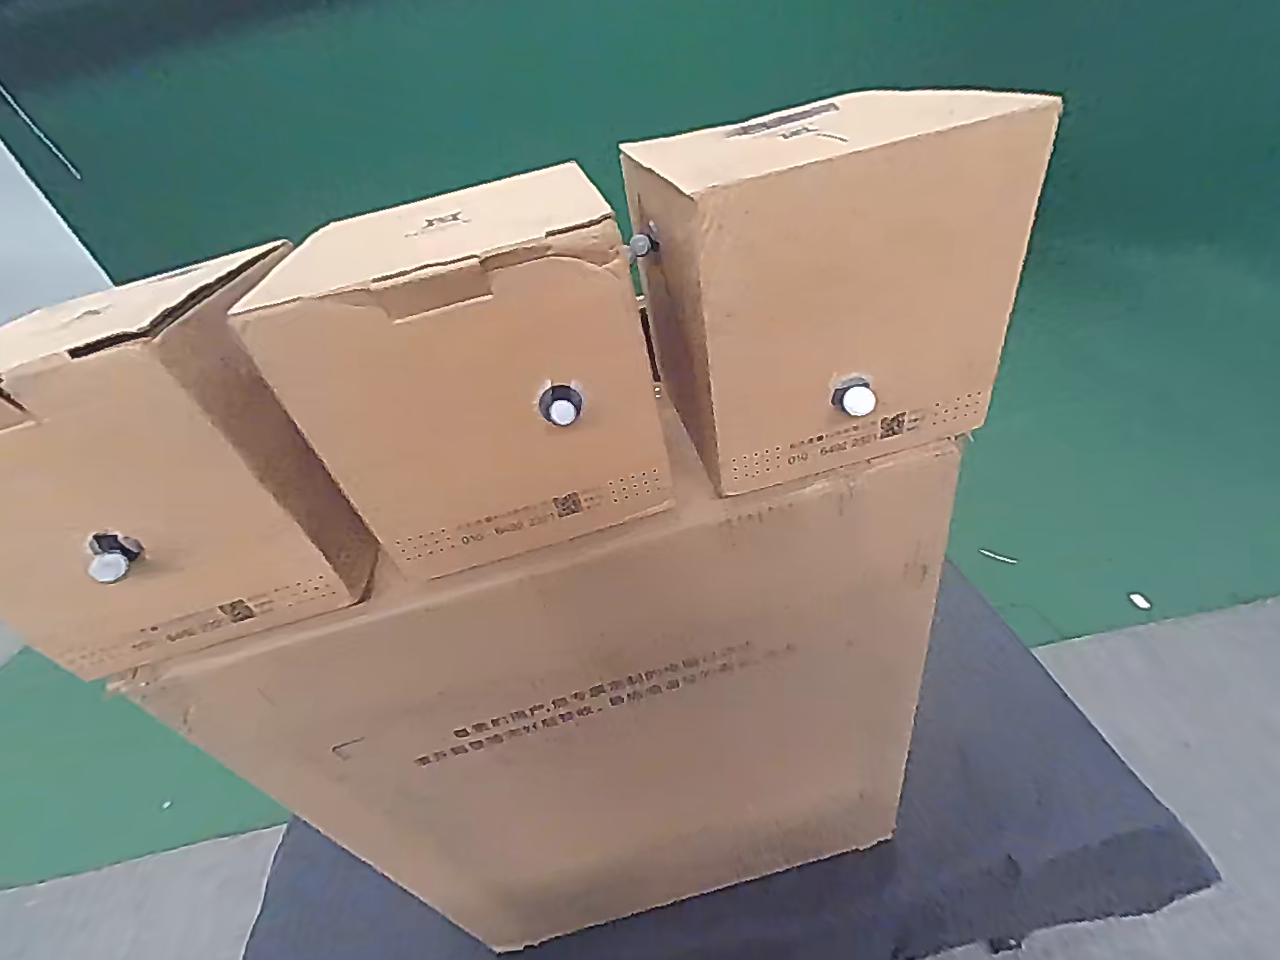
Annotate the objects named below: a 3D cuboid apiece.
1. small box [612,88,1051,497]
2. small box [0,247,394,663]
[{"bbox_3d":[0.088,-0.118,0.329,0.168,0.176,0.179,-15,38,-1],"label":"small box"},{"bbox_3d":[-0.277,-0.013,0.328,0.168,0.176,0.179,-17,38,0],"label":"small box"}]
